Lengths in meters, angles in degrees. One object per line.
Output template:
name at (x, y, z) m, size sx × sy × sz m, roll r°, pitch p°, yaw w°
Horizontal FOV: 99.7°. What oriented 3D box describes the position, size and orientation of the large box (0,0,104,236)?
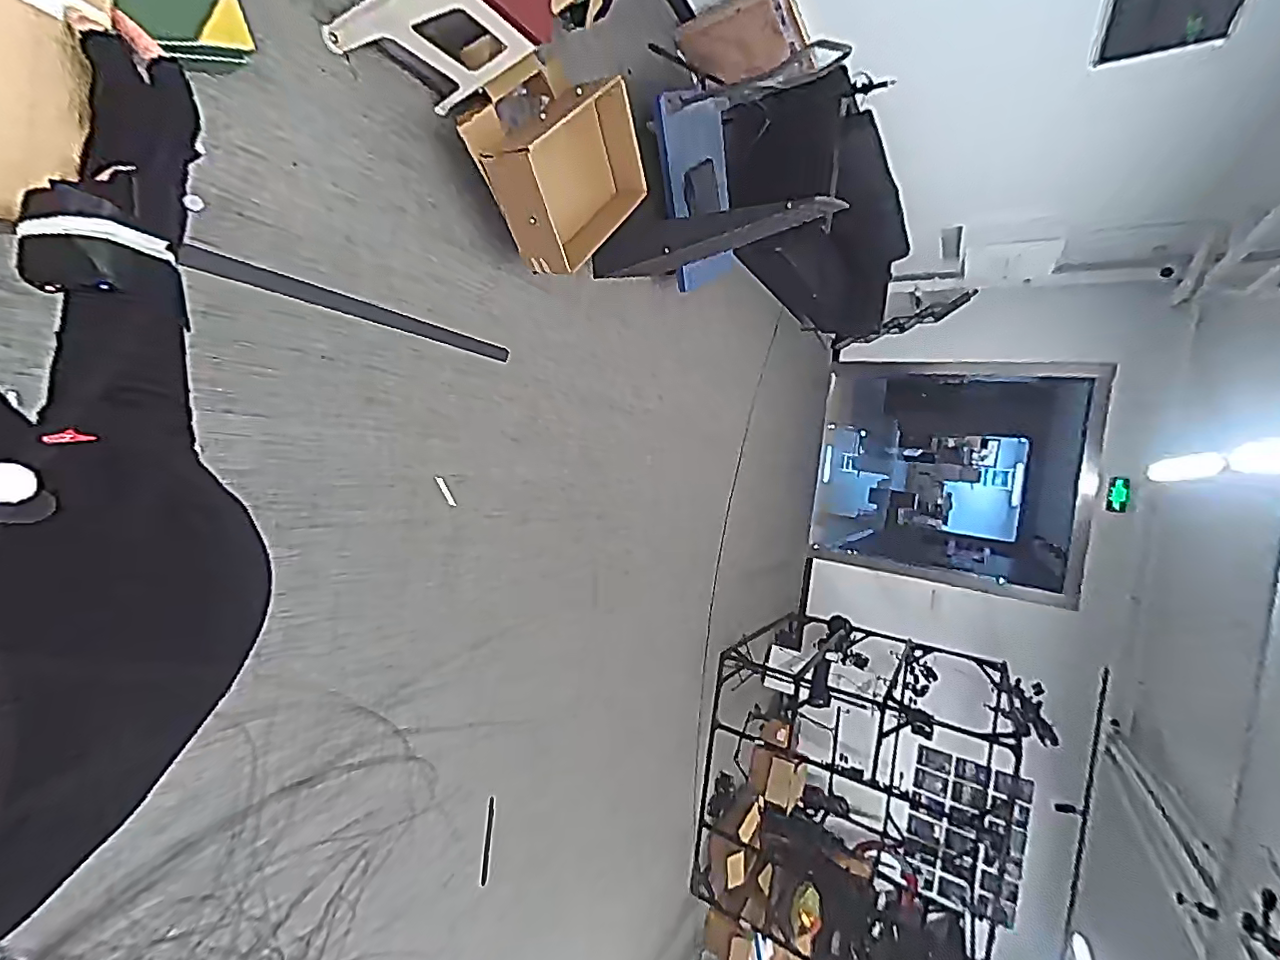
large box at (-0.639, -0.373, 0.308) m, size 0.408 × 0.320 × 0.320 m, roll -1°, pitch 105°, yaw -63°
